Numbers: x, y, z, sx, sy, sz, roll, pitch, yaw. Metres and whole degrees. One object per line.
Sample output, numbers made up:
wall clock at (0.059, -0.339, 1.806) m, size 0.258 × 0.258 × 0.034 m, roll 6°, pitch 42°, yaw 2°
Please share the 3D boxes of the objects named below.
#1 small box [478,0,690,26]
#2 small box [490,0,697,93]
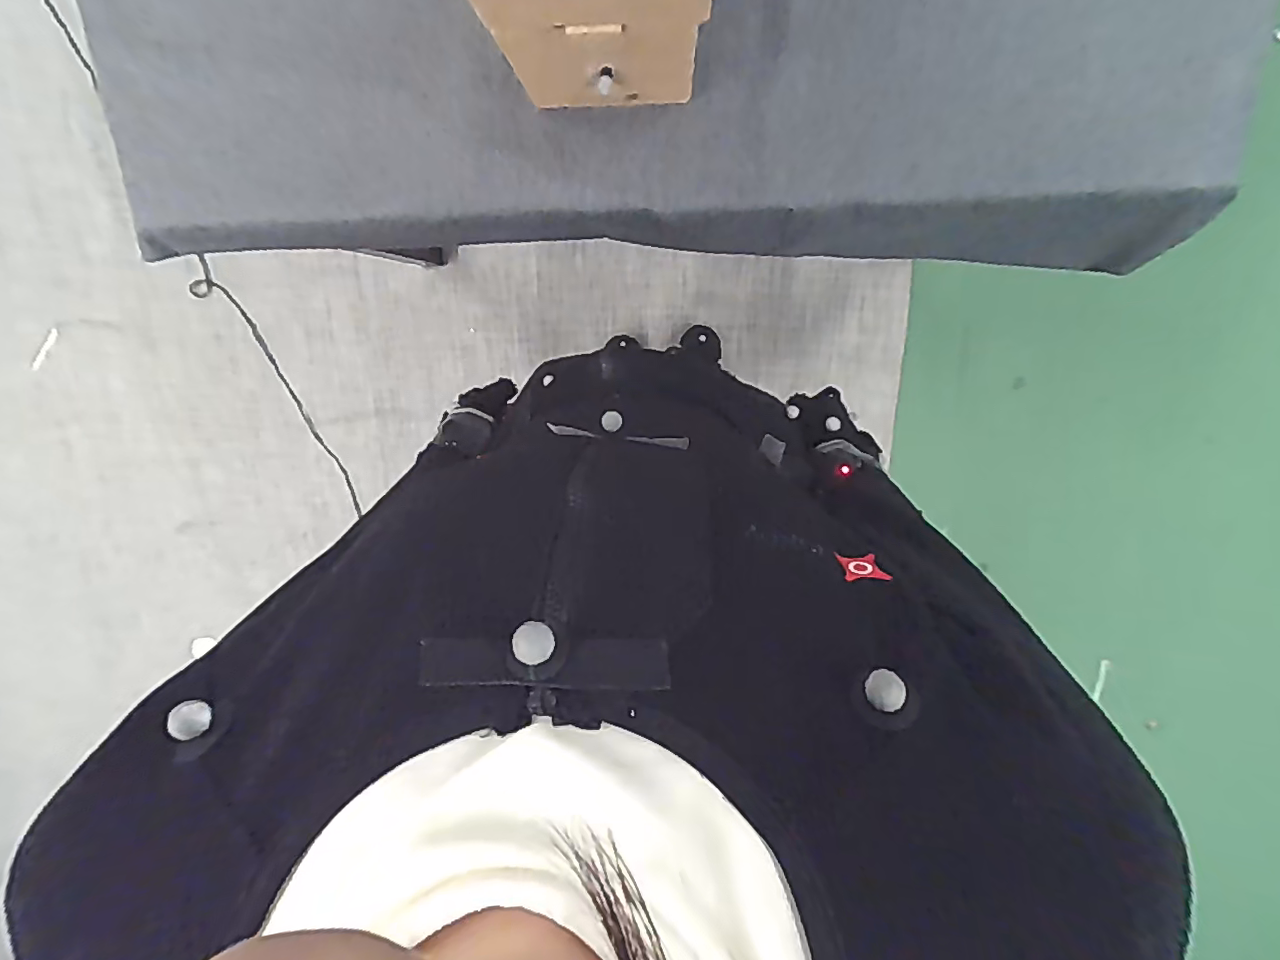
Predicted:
small box at (-0.036, -0.406, 0.314) m, size 0.179 × 0.176 × 0.168 m, roll -3°, pitch 107°, yaw 3°
small box at (-0.032, -0.462, 0.469) m, size 0.168 × 0.176 × 0.179 m, roll 0°, pitch 107°, yaw 4°
